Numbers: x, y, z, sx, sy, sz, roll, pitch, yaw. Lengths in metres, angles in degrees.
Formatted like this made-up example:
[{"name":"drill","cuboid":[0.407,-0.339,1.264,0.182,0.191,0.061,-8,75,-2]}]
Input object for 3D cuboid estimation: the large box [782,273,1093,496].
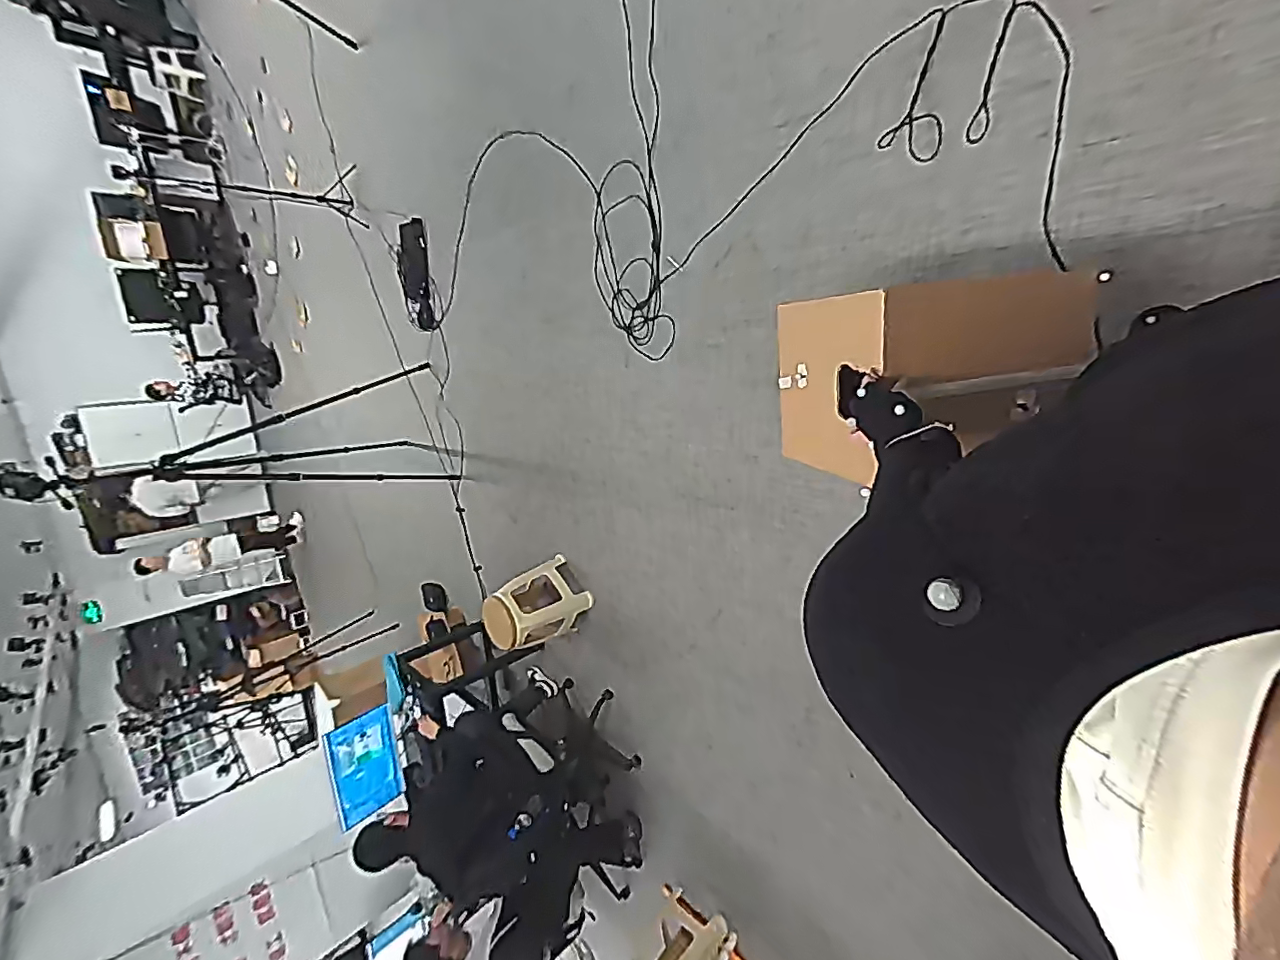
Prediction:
[{"name":"large box","cuboid":[0.524,-0.184,1.007,0.320,0.408,0.320,-141,43,-70]}]
